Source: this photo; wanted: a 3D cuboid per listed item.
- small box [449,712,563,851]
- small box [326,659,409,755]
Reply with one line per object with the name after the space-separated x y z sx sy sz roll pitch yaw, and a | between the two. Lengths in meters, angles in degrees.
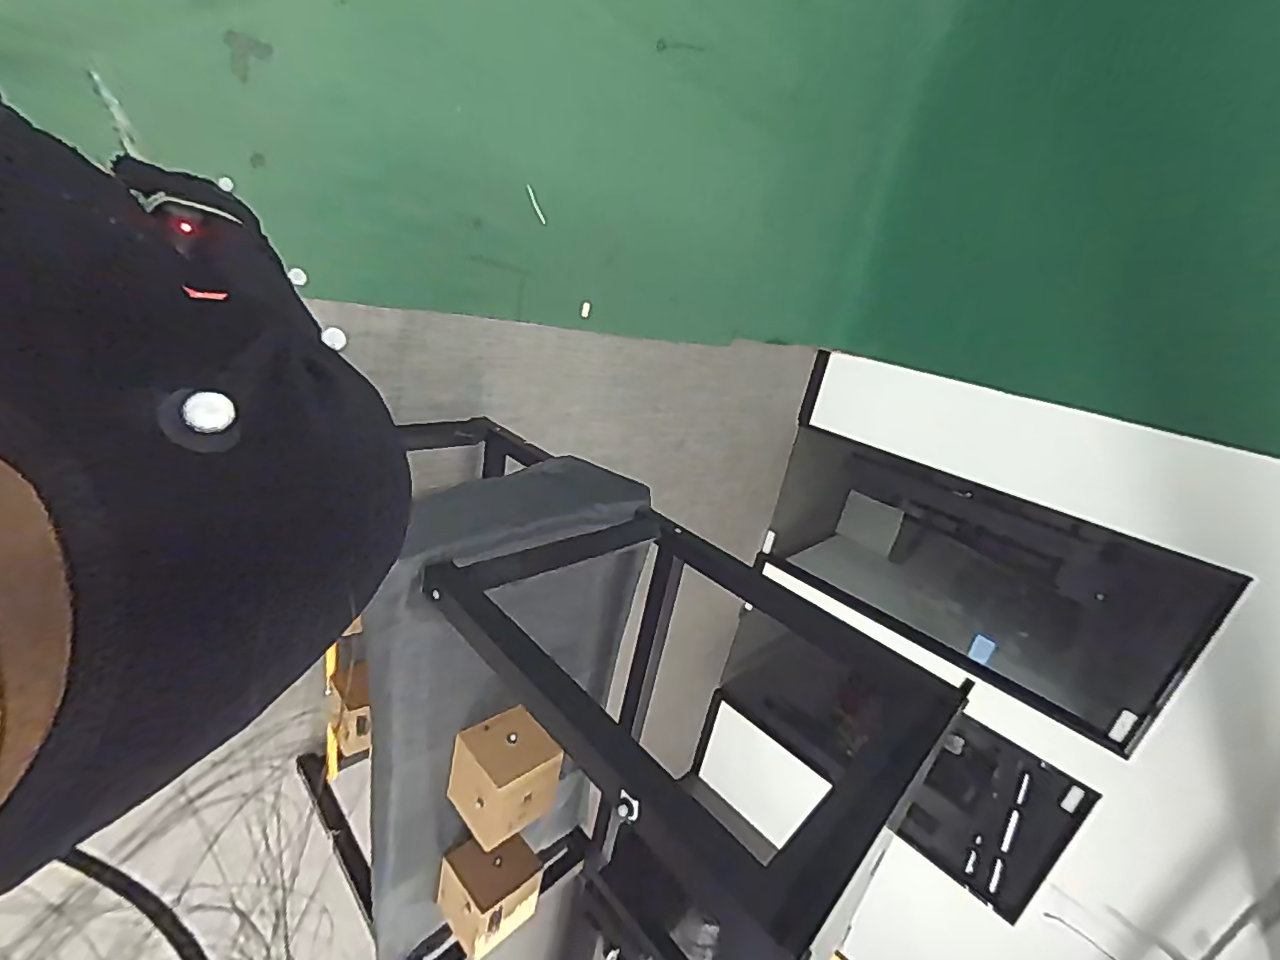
-0.295 0.636 1.173 0.168 0.176 0.179 -7 117 -47 | small box
-0.819 0.670 1.616 0.179 0.176 0.168 -6 117 -47 | small box
